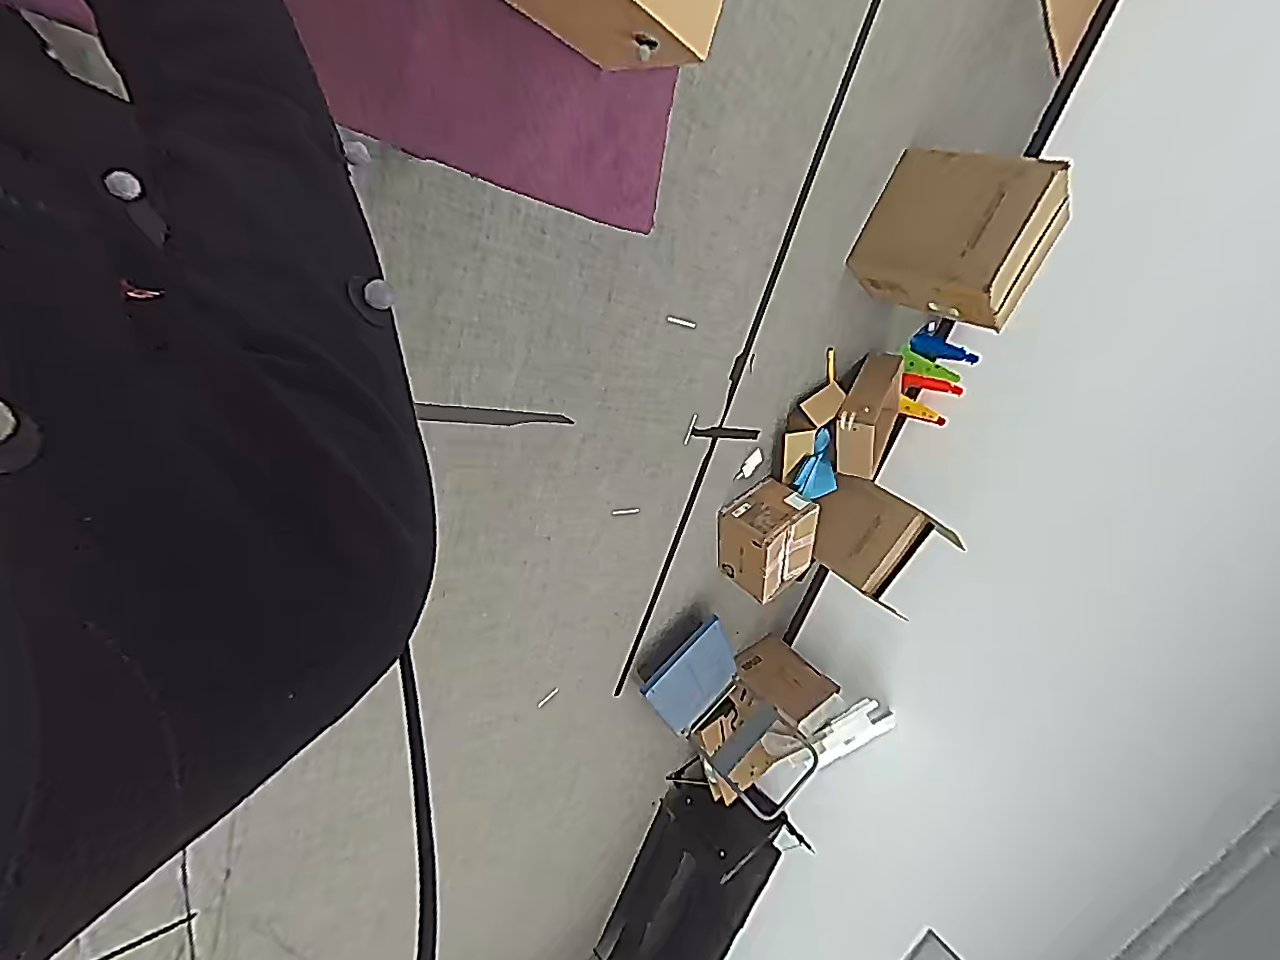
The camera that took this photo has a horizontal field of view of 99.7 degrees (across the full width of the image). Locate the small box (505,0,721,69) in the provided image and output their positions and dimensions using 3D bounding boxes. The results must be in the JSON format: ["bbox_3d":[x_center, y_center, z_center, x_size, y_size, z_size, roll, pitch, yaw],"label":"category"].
[{"bbox_3d":[-0.025,-0.525,0.510,0.179,0.176,0.168,-1,116,-46],"label":"small box"}]
